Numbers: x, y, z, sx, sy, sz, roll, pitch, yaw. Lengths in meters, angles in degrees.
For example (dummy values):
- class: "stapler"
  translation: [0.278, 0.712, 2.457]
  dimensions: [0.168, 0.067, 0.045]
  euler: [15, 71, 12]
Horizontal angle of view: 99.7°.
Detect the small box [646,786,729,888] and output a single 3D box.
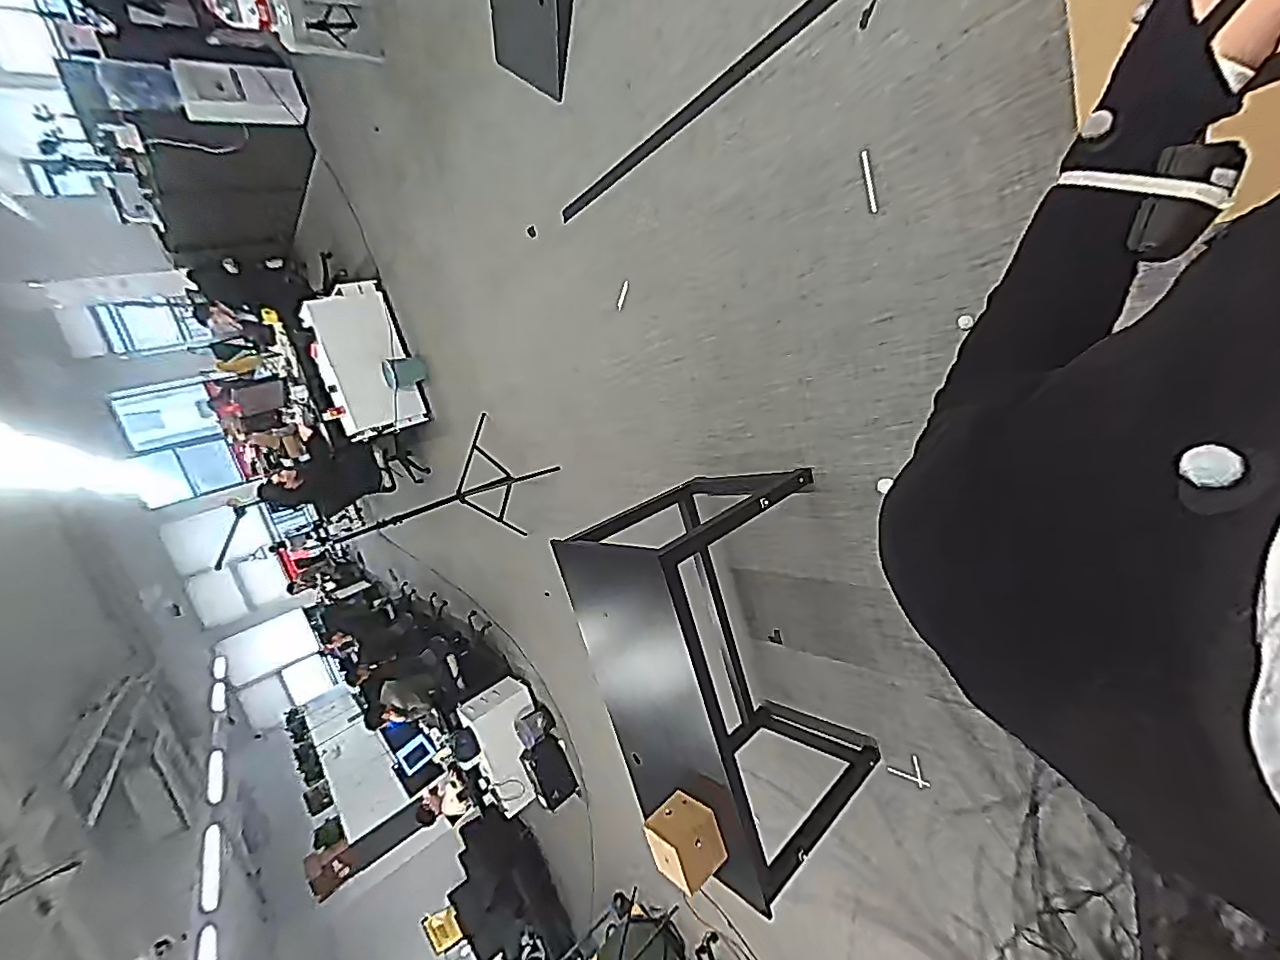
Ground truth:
- class: "small box"
  translation: [0.151, 1.111, 1.701]
  dimensions: [0.168, 0.176, 0.179]
  euler: [-6, 106, 55]
